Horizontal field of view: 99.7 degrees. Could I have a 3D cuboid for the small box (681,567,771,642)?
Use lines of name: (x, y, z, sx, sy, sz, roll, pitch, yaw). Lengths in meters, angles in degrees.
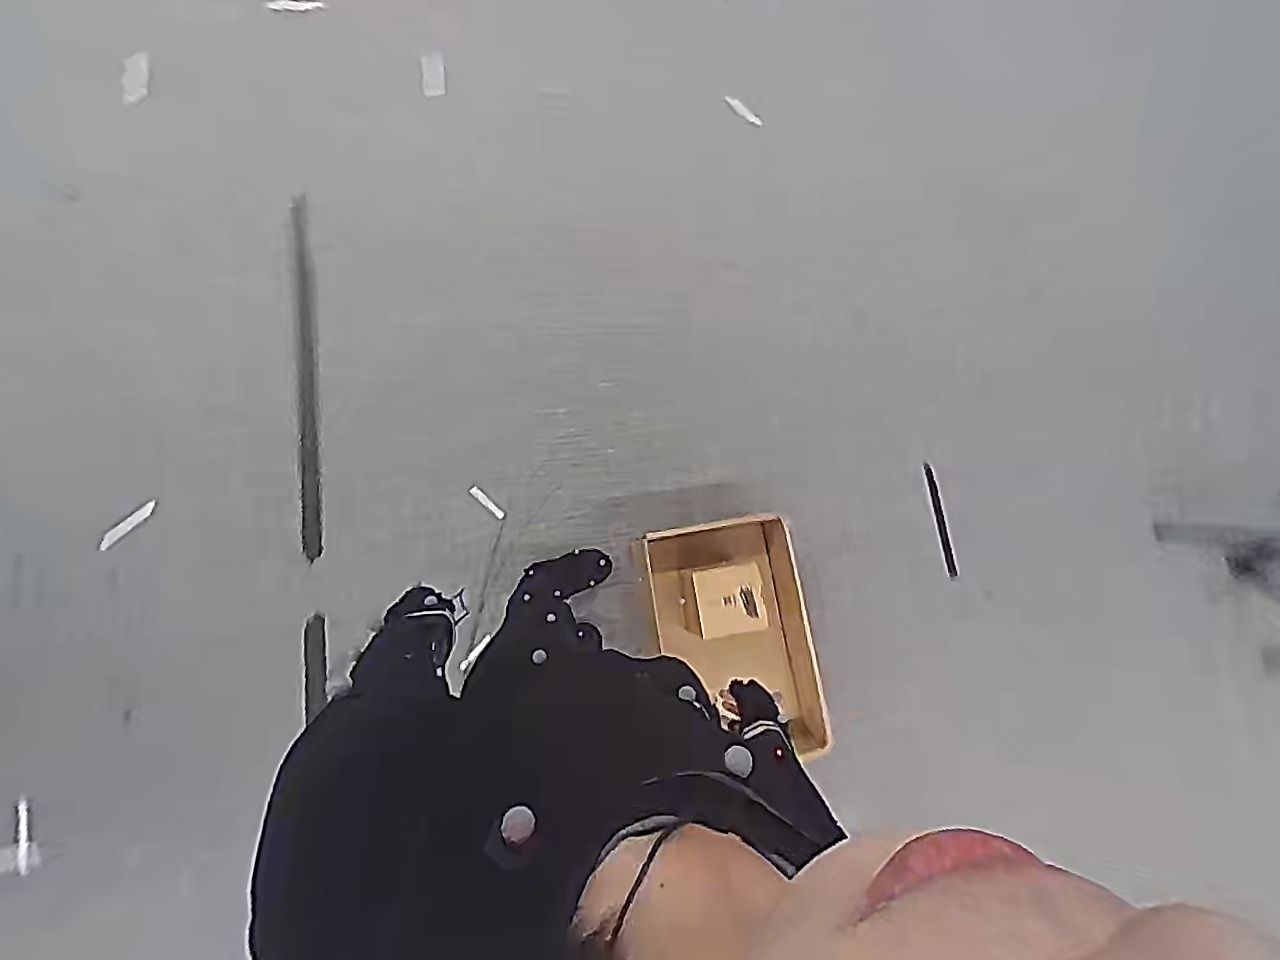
small box: (0.220, 0.321, 1.424, 0.179, 0.176, 0.168, -7, 82, -10)
